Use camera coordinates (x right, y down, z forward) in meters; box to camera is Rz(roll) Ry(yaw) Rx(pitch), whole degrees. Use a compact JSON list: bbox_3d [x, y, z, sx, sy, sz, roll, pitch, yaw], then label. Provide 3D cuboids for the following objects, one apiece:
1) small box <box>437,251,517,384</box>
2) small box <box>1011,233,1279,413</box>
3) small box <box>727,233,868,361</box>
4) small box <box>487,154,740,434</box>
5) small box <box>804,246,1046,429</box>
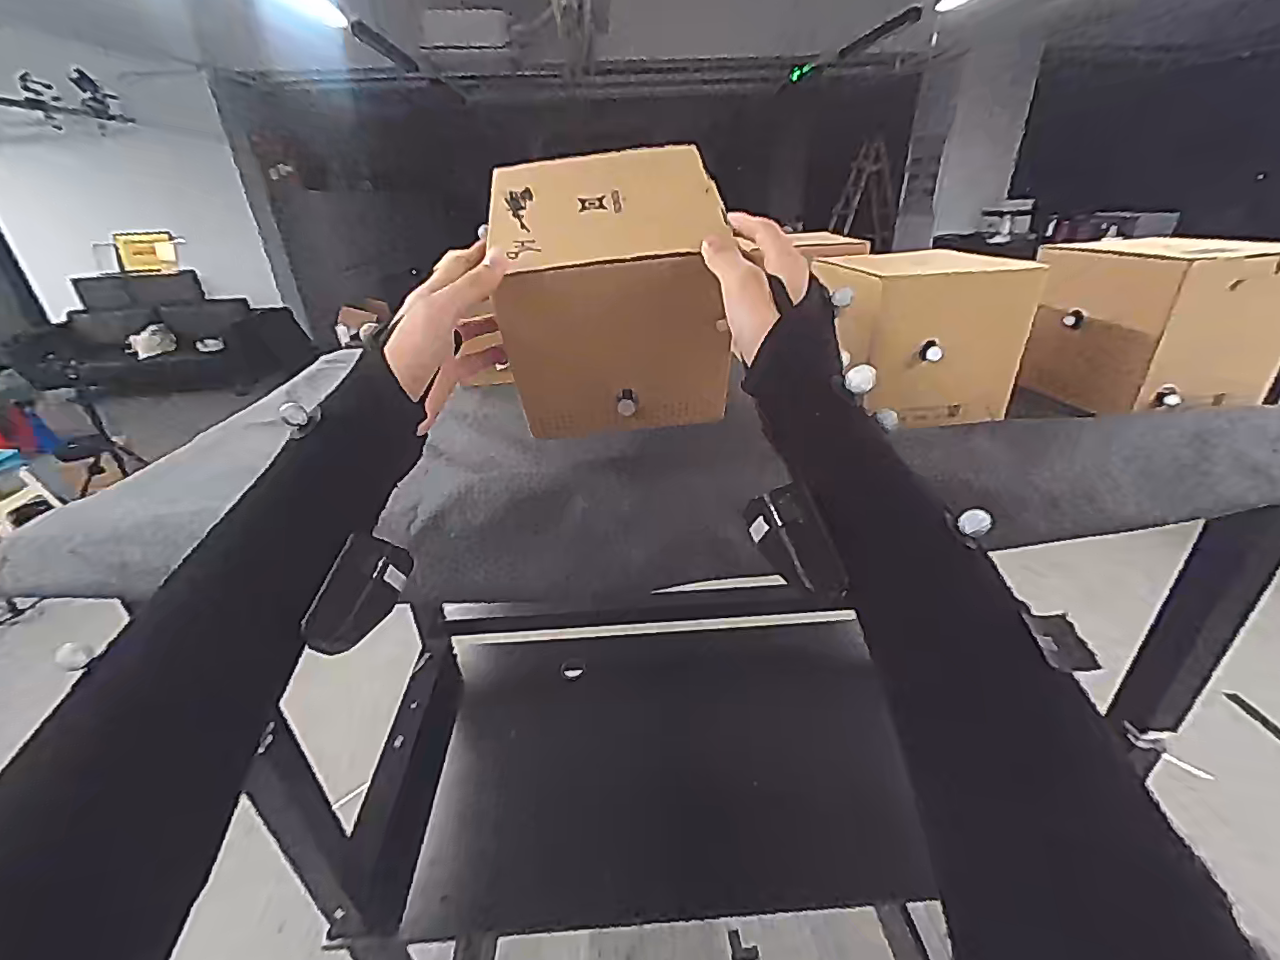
[{"bbox_3d":[-0.195,-0.254,0.824,0.168,0.176,0.179,-8,29,-7],"label":"small box"},{"bbox_3d":[0.572,-0.178,0.612,0.168,0.176,0.179,-7,27,-7],"label":"small box"},{"bbox_3d":[0.235,-0.293,0.859,0.179,0.176,0.168,-4,29,-2],"label":"small box"},{"bbox_3d":[-0.022,-0.159,0.478,0.179,0.176,0.168,-6,52,-2],"label":"small box"},{"bbox_3d":[0.297,-0.161,0.610,0.168,0.176,0.179,-5,27,-4],"label":"small box"}]
